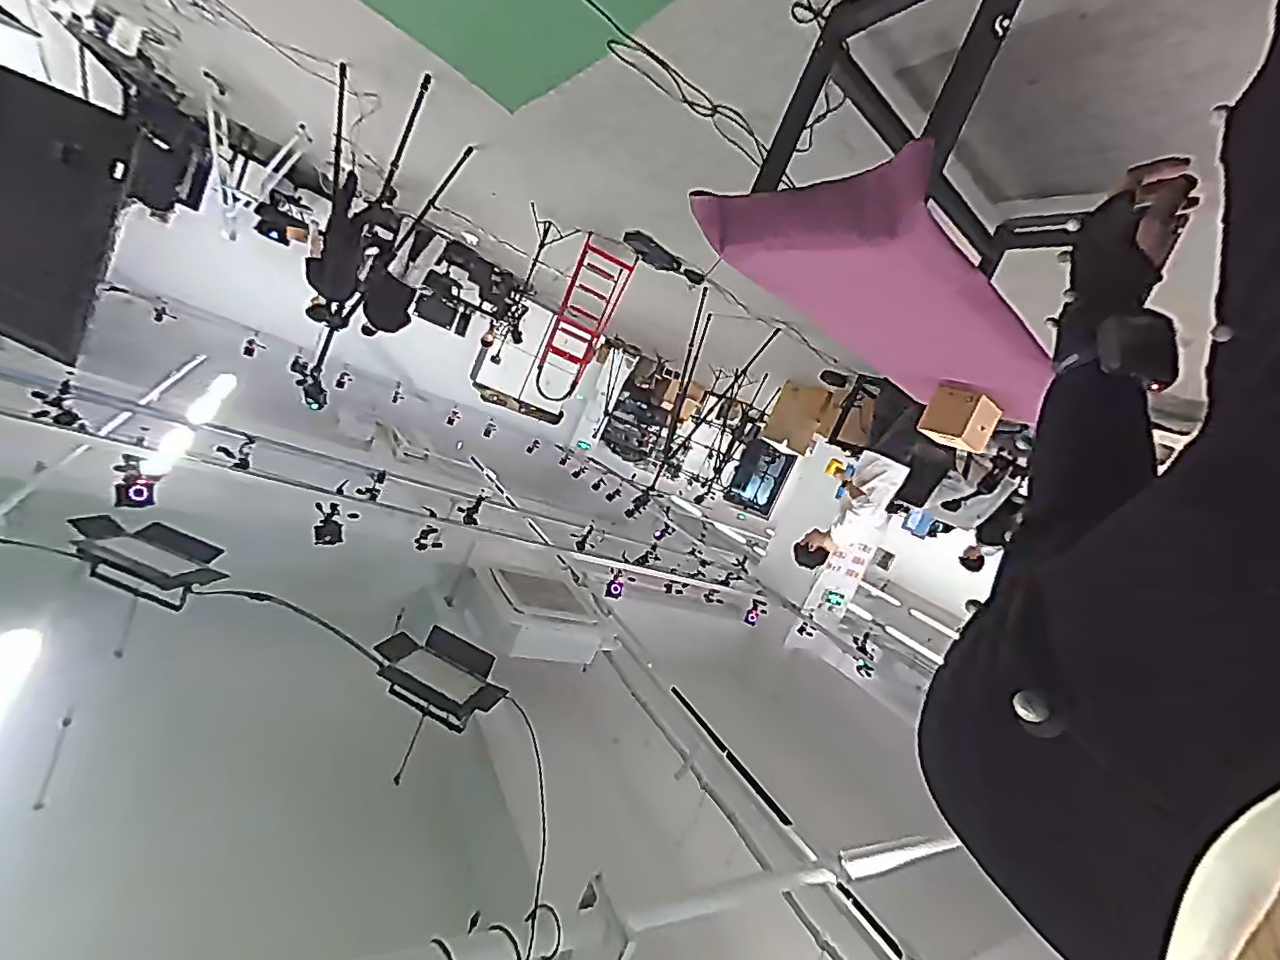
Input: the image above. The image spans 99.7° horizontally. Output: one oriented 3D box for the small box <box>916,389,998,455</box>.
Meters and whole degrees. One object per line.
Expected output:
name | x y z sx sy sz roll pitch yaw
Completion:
small box | 1.126 -0.209 1.918 0.179 0.176 0.168 18 -172 -36
